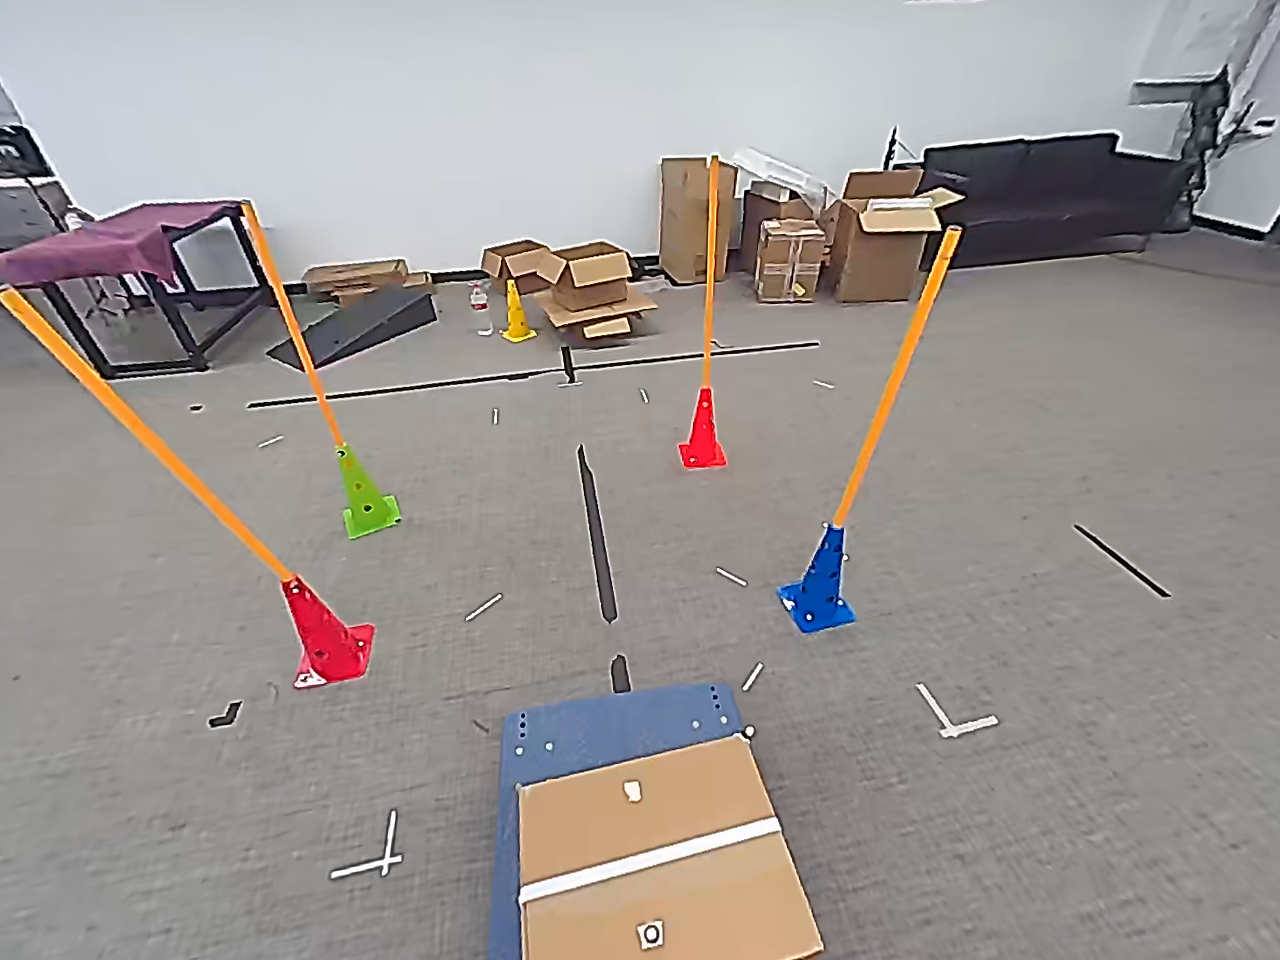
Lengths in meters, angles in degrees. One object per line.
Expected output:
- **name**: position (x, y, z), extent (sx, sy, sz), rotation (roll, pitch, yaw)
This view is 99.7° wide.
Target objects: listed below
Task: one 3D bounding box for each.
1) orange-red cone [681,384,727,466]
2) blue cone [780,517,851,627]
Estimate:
- **orange-red cone**: position (0.292, -0.260, 2.389), extent (0.199, 0.360, 0.198), rotation (-3, 38, -3)
- **blue cone**: position (0.585, 0.275, 1.713), extent (0.193, 0.380, 0.192), rotation (-10, 37, -11)
